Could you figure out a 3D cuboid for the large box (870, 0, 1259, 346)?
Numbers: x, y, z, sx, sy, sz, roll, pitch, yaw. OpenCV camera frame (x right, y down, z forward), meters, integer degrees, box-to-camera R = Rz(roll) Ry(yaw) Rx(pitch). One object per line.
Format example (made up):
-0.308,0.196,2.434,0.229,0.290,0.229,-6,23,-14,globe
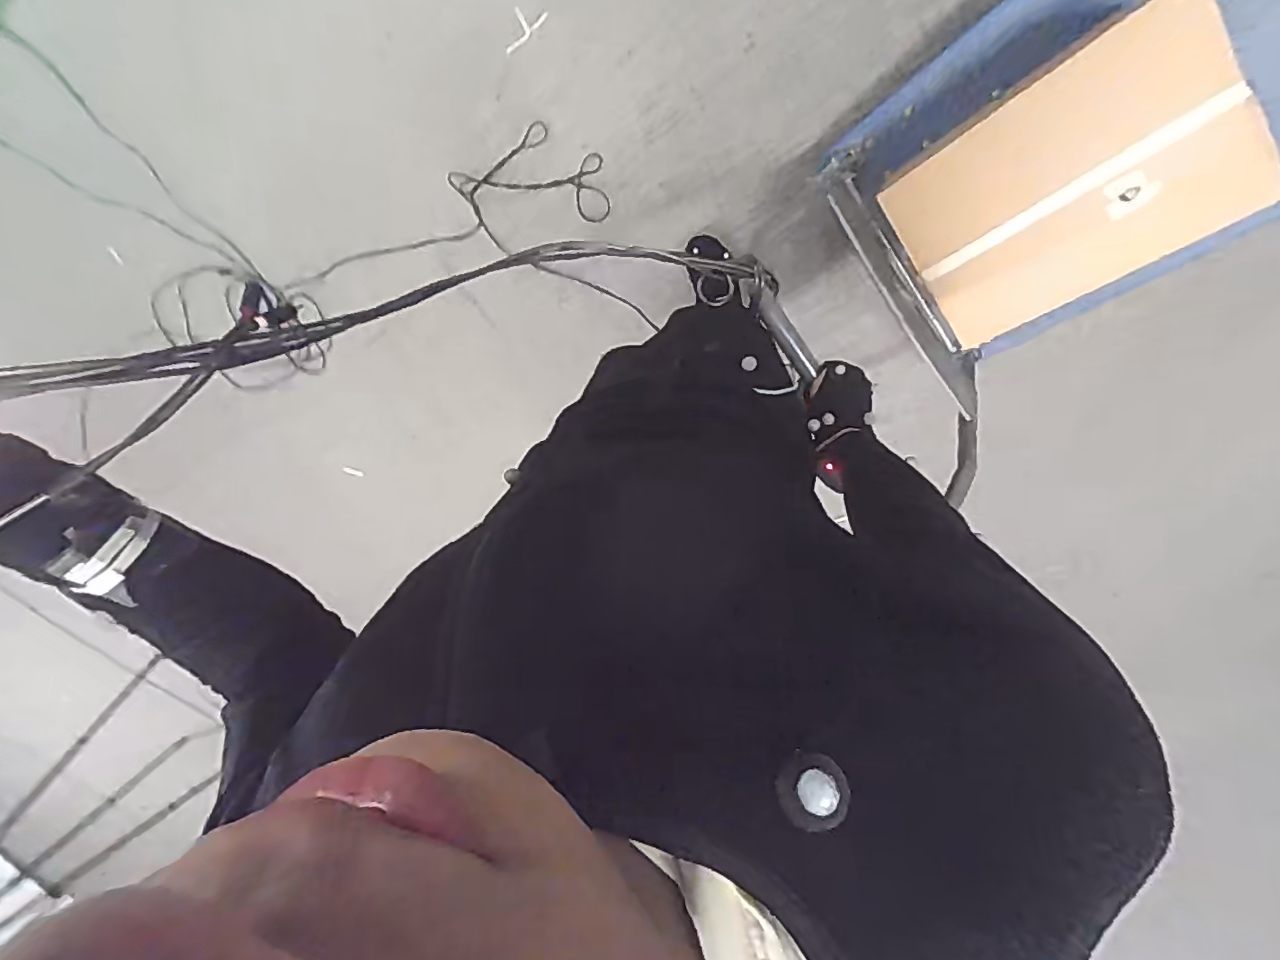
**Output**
0.668,-0.503,0.932,0.408,0.320,0.320,-27,106,37,large box
